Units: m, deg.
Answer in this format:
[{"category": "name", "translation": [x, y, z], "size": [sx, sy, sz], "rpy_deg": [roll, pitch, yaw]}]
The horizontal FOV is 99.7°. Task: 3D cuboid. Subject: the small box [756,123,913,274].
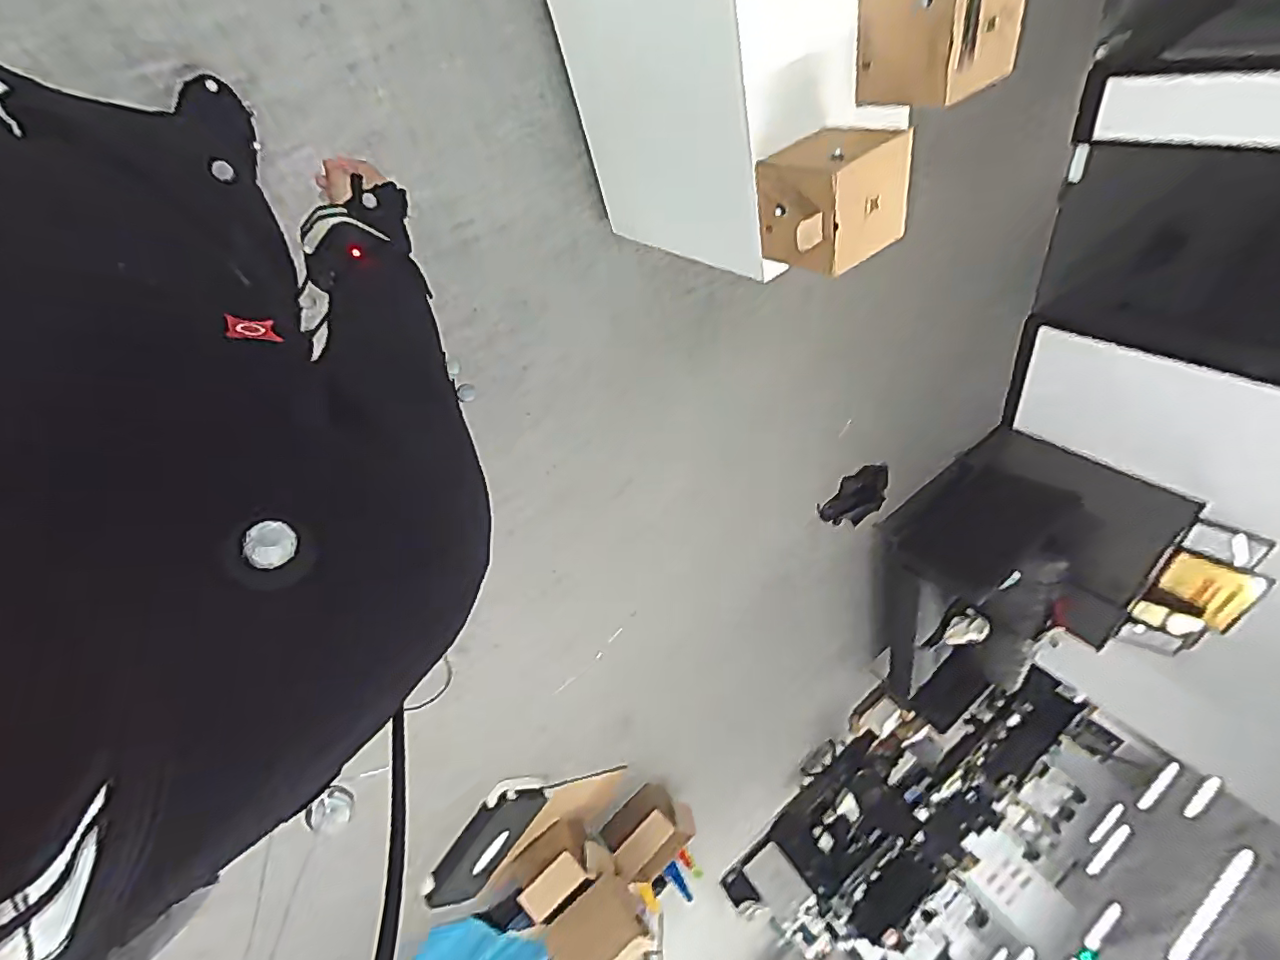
[{"category": "small box", "translation": [0.318, -0.476, 0.905], "size": [0.179, 0.176, 0.168], "rpy_deg": [-35, 135, -16]}]
